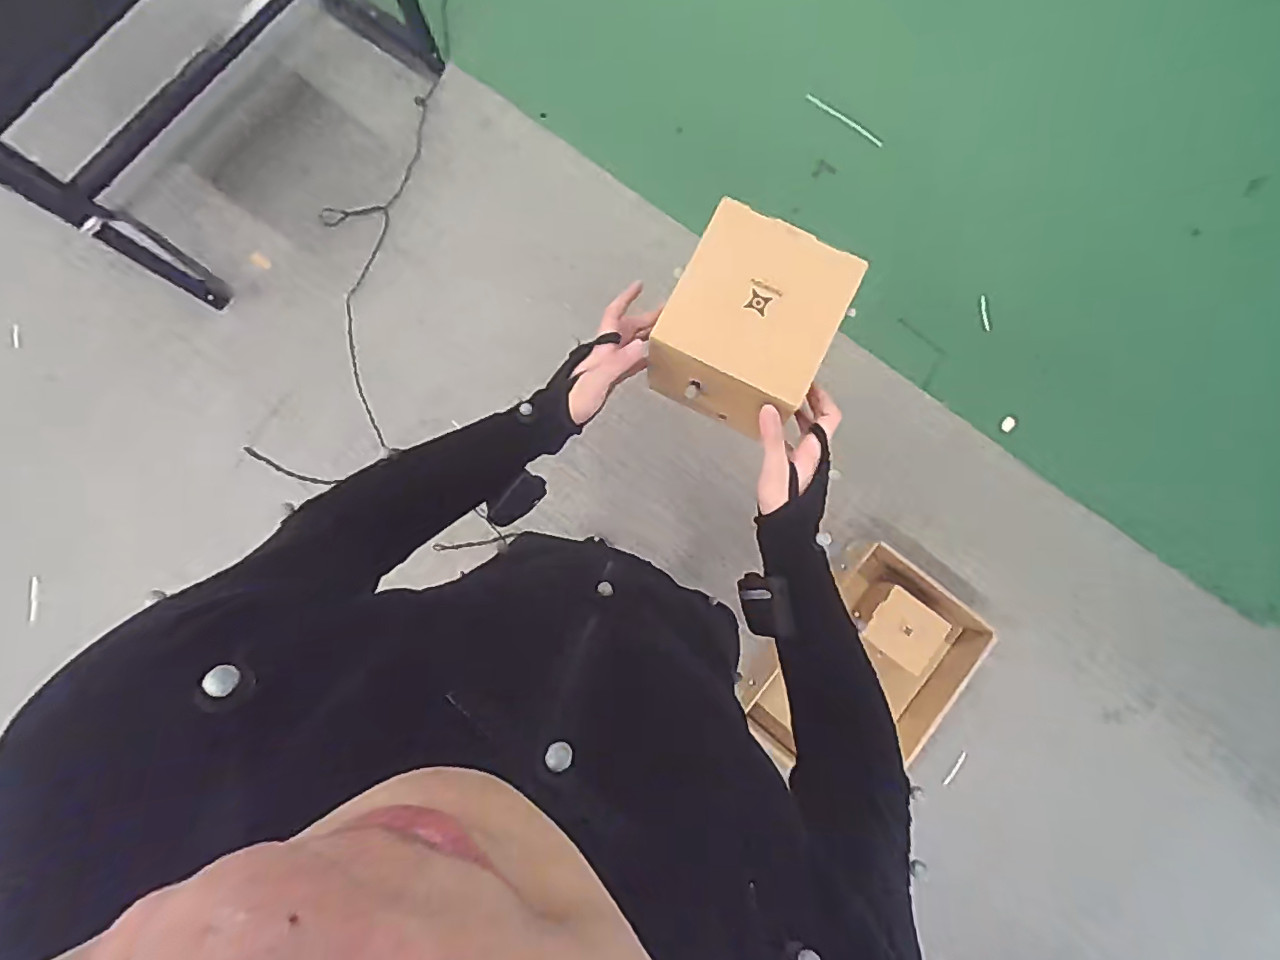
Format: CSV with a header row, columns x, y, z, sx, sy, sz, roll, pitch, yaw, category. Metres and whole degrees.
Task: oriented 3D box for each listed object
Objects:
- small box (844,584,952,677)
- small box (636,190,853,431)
x,y,z,sx,sy,sz,roll,pitch,yaw,category
0.688,0.400,1.466,0.179,0.176,0.168,39,85,6,small box
0.107,-0.176,0.617,0.168,0.176,0.179,26,82,4,small box
